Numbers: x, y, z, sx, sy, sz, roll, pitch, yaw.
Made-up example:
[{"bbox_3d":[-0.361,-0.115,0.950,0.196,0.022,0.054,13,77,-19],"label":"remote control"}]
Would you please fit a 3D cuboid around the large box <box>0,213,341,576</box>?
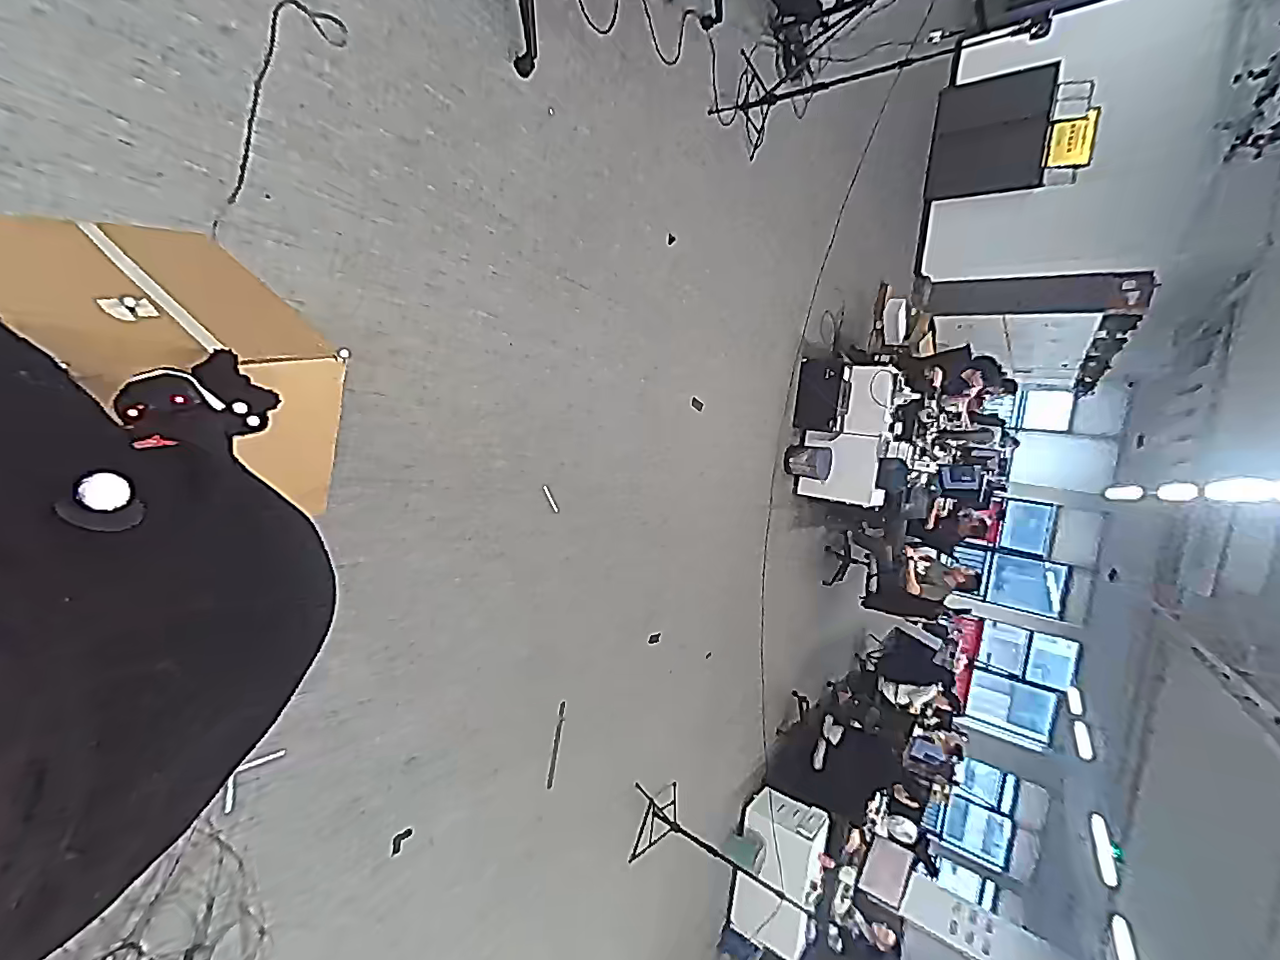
[{"bbox_3d":[-0.729,-0.139,0.801,0.320,0.408,0.320,-28,152,-54],"label":"large box"}]
